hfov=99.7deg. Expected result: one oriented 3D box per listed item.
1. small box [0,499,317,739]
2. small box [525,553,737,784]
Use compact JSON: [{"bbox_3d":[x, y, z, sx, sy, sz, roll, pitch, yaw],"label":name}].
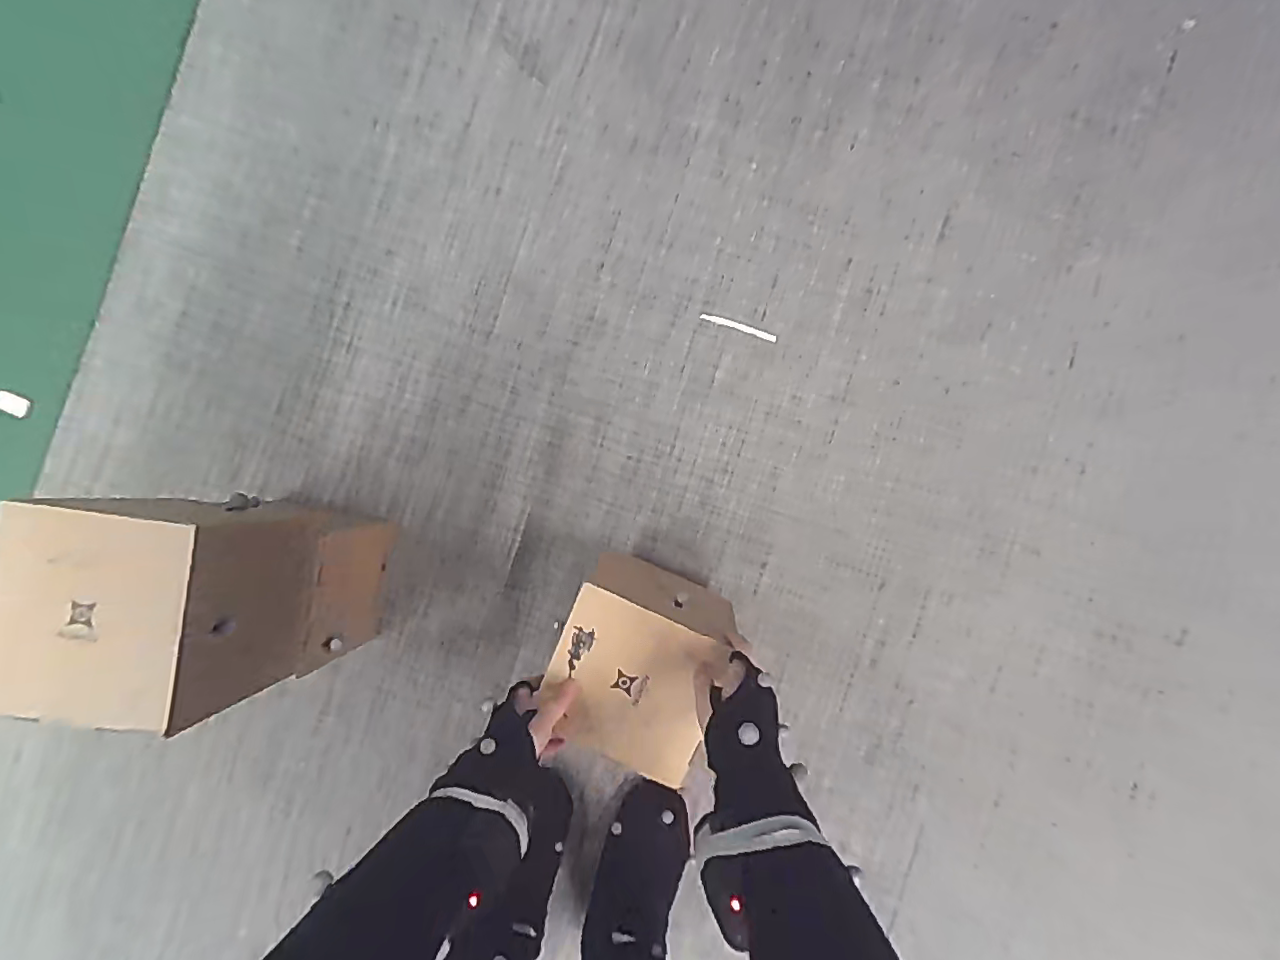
[{"bbox_3d":[-0.446,0.116,0.521,0.168,0.176,0.179,8,88,1],"label":"small box"},{"bbox_3d":[-0.005,0.202,0.635,0.179,0.176,0.168,24,97,3],"label":"small box"}]
